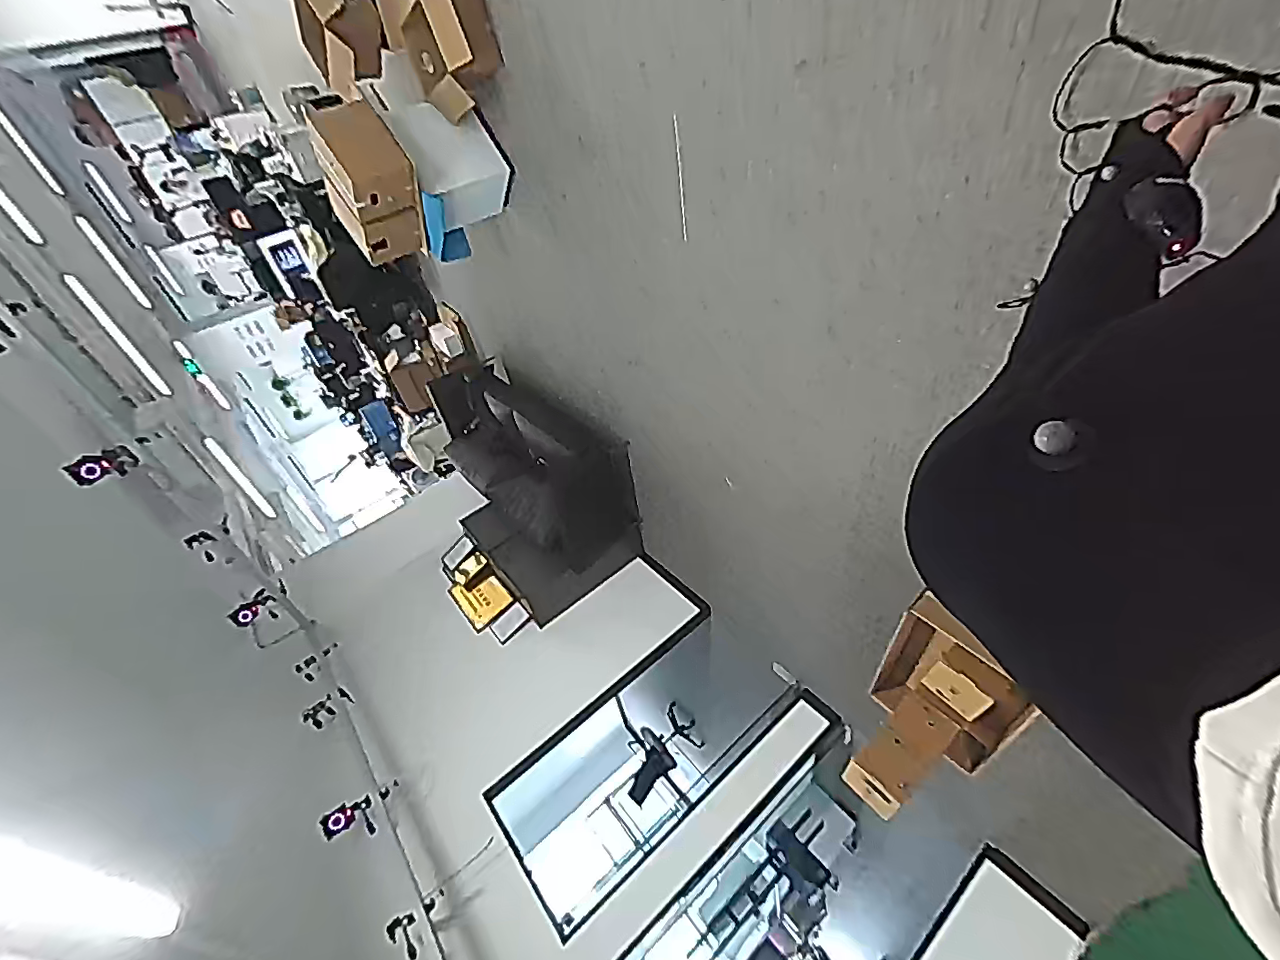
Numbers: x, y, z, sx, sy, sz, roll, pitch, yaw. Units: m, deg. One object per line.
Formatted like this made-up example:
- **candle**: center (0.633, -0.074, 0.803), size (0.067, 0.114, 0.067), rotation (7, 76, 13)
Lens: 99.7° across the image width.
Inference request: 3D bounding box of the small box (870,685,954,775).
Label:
- **small box**: center (0.887, 0.810, 1.761), size (0.168, 0.176, 0.179), rotation (37, 148, 37)

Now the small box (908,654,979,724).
- **small box**: center (1.010, 0.732, 1.831), size (0.168, 0.176, 0.179), rotation (37, 148, 36)
